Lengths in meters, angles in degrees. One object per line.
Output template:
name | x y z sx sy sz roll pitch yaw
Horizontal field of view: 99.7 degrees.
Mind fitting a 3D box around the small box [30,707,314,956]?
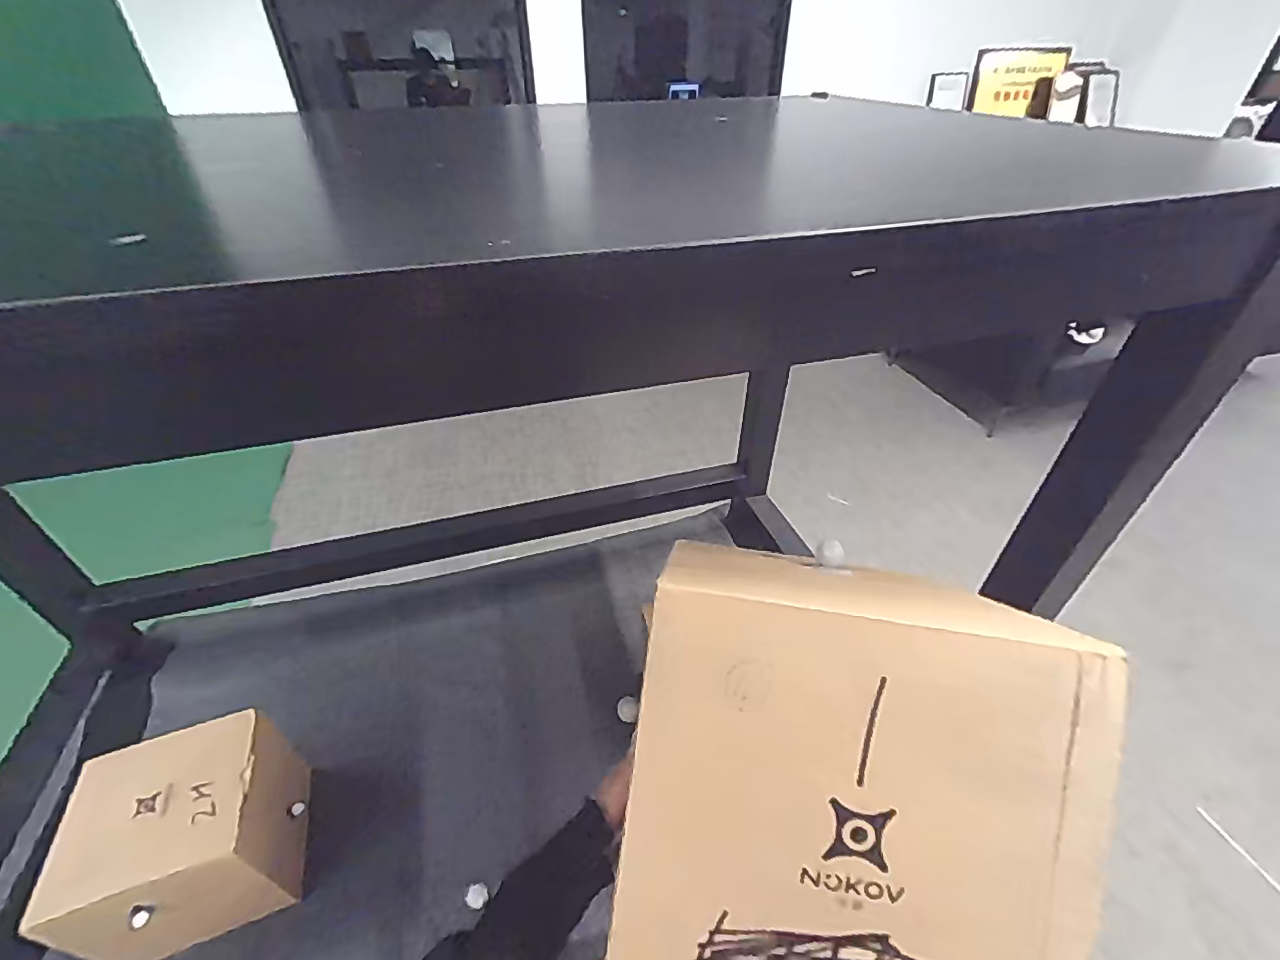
small box | -0.513 0.407 0.630 0.179 0.176 0.168 -14 41 -17
